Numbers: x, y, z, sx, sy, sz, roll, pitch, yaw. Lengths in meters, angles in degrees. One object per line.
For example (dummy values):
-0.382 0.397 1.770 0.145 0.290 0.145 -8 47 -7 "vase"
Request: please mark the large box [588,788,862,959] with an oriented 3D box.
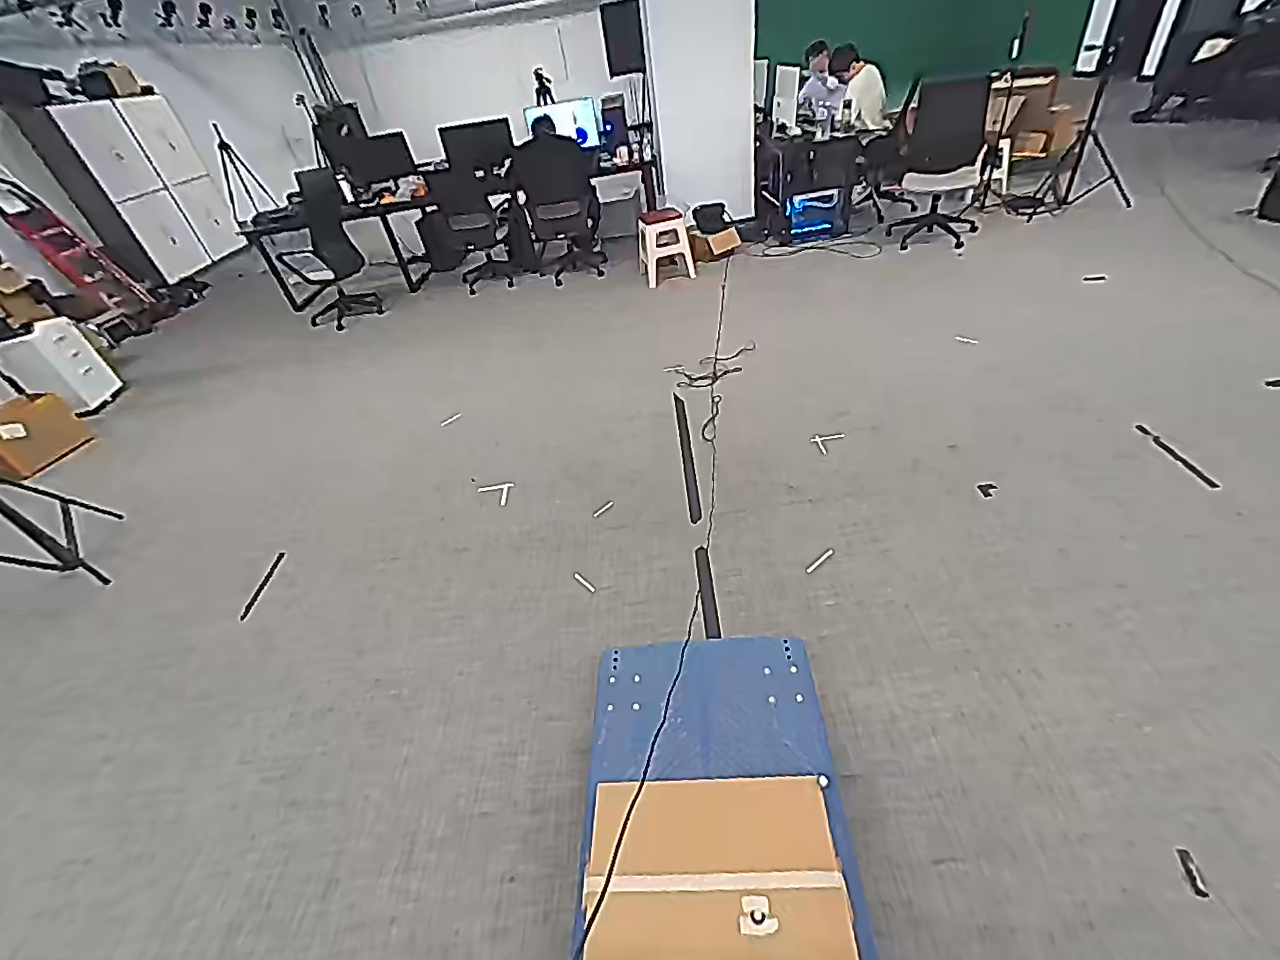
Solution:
0.138 0.766 0.930 0.408 0.320 0.320 -5 39 6 "large box"
